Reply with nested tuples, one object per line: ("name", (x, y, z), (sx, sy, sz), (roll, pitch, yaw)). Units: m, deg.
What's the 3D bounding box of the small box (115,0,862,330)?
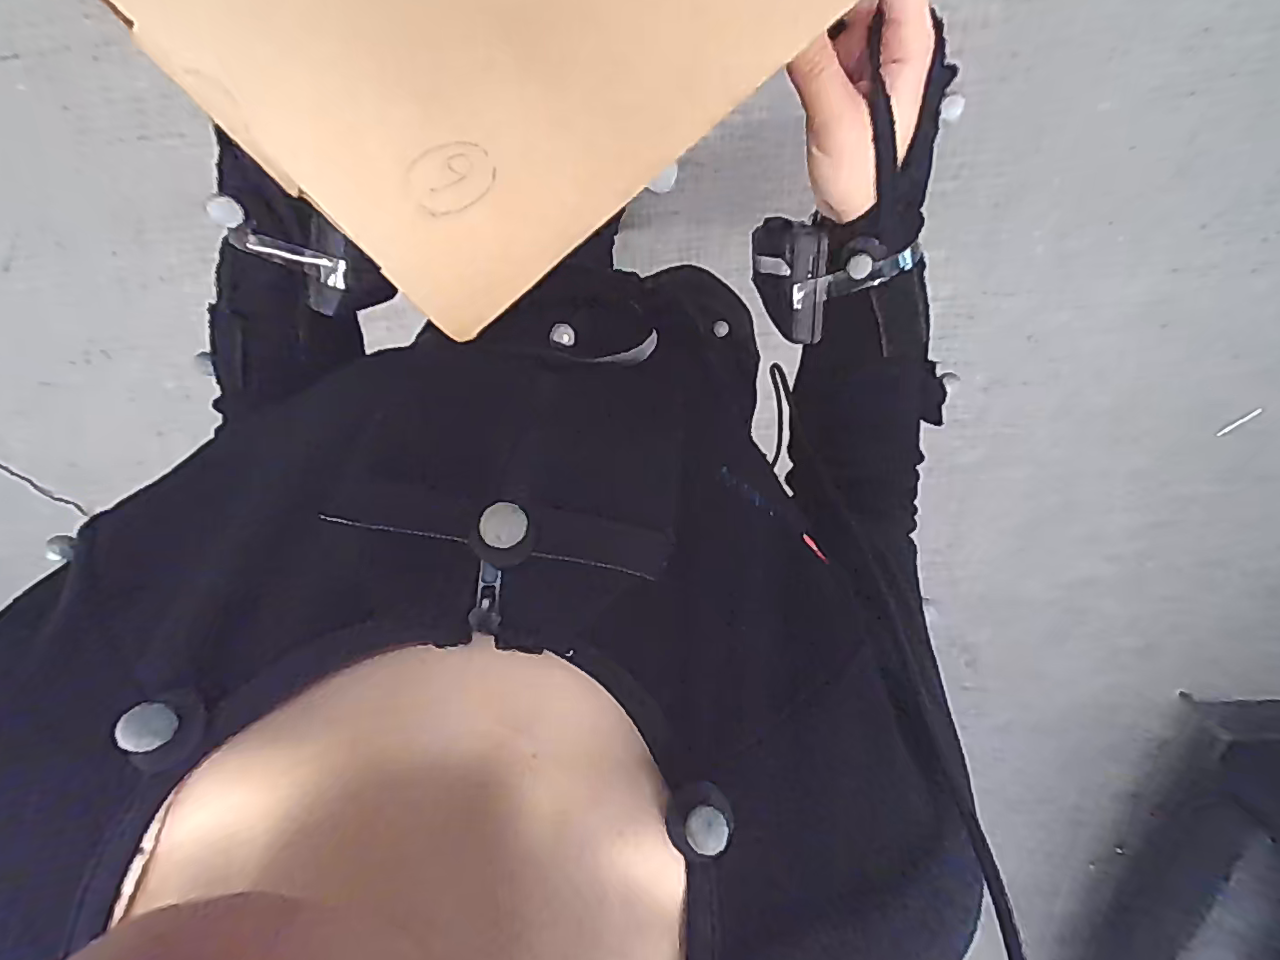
("small box", (-0.034, -0.186, 0.165), (0.179, 0.176, 0.168), (-28, 122, 28))
